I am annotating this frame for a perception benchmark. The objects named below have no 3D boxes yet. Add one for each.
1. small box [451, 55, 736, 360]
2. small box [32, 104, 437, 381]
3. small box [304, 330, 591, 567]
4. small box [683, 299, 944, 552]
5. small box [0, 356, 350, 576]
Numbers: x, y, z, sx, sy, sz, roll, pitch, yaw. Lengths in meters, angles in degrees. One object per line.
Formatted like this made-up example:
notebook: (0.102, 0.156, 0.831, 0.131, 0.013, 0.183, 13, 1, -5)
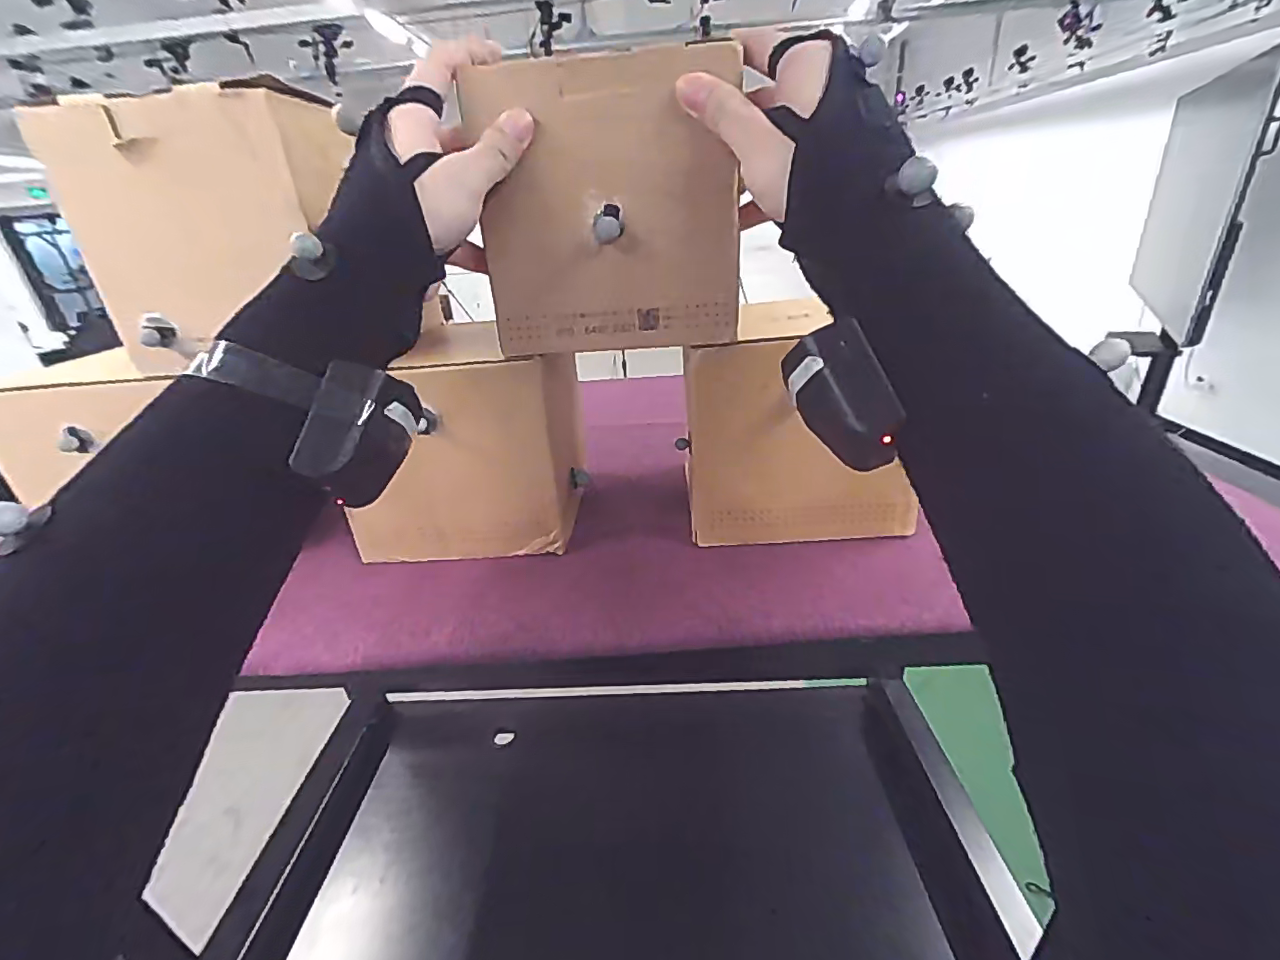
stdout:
small box: (-0.018, -0.191, 0.415, 0.168, 0.176, 0.179, -3, 26, 5)
small box: (-0.285, -0.180, 0.436, 0.168, 0.176, 0.179, -2, 25, 5)
small box: (-0.148, -0.033, 0.488, 0.179, 0.176, 0.168, -3, 26, 4)
small box: (0.130, -0.052, 0.474, 0.179, 0.176, 0.168, -5, 25, 4)
small box: (-0.415, -0.023, 0.512, 0.179, 0.176, 0.168, -4, 27, 2)
